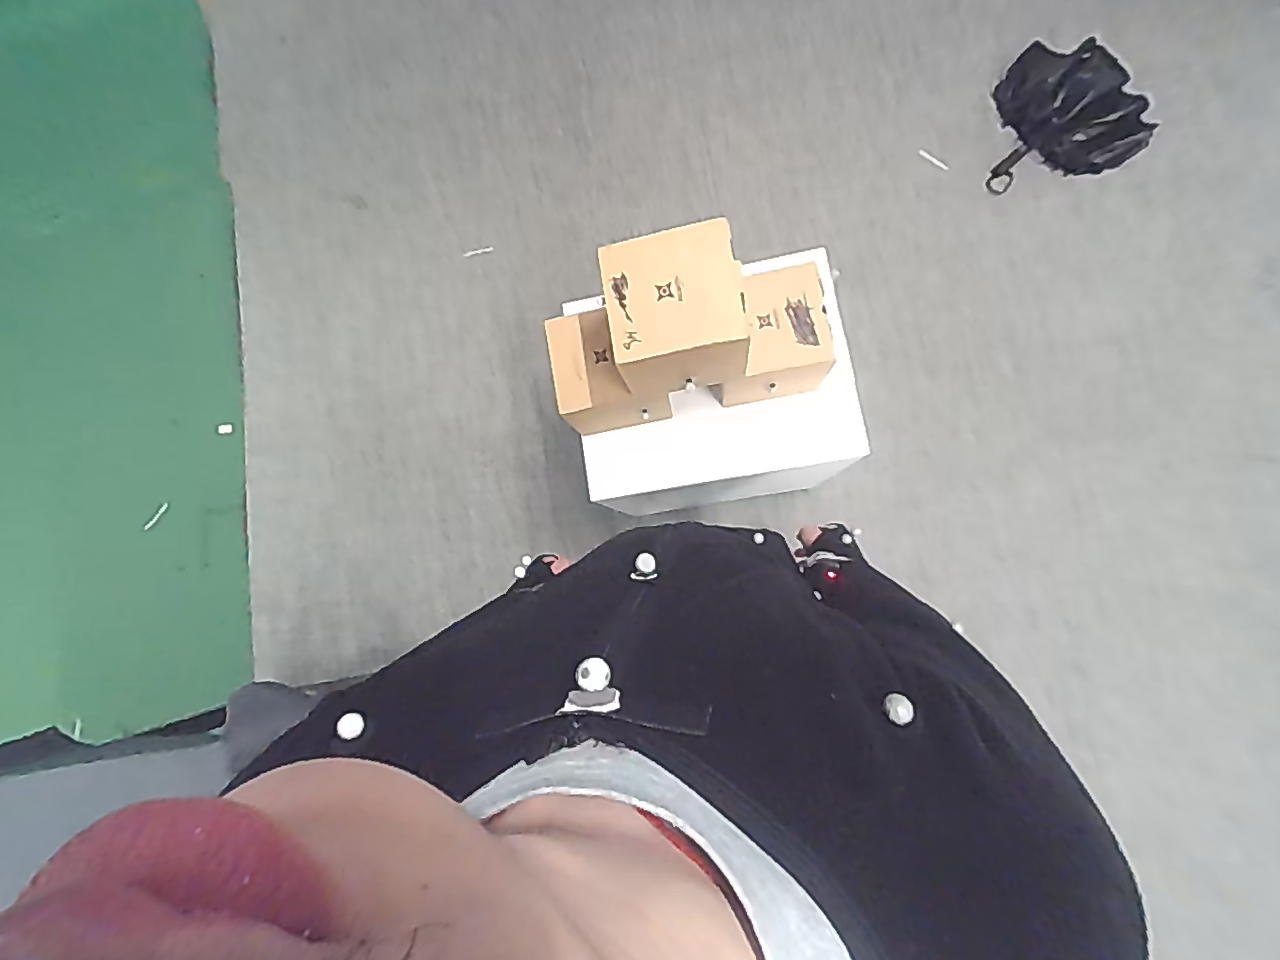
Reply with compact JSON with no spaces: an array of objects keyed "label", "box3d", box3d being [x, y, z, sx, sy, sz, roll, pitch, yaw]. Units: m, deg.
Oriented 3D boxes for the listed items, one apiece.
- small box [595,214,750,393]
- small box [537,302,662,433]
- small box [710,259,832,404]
[{"label":"small box","box3d":[0.046,-0.233,0.755,0.179,0.176,0.168,-10,82,5]},{"label":"small box","box3d":[-0.060,-0.189,0.927,0.179,0.176,0.168,-12,81,5]},{"label":"small box","box3d":[0.200,-0.238,0.904,0.179,0.176,0.168,-10,82,6]}]
